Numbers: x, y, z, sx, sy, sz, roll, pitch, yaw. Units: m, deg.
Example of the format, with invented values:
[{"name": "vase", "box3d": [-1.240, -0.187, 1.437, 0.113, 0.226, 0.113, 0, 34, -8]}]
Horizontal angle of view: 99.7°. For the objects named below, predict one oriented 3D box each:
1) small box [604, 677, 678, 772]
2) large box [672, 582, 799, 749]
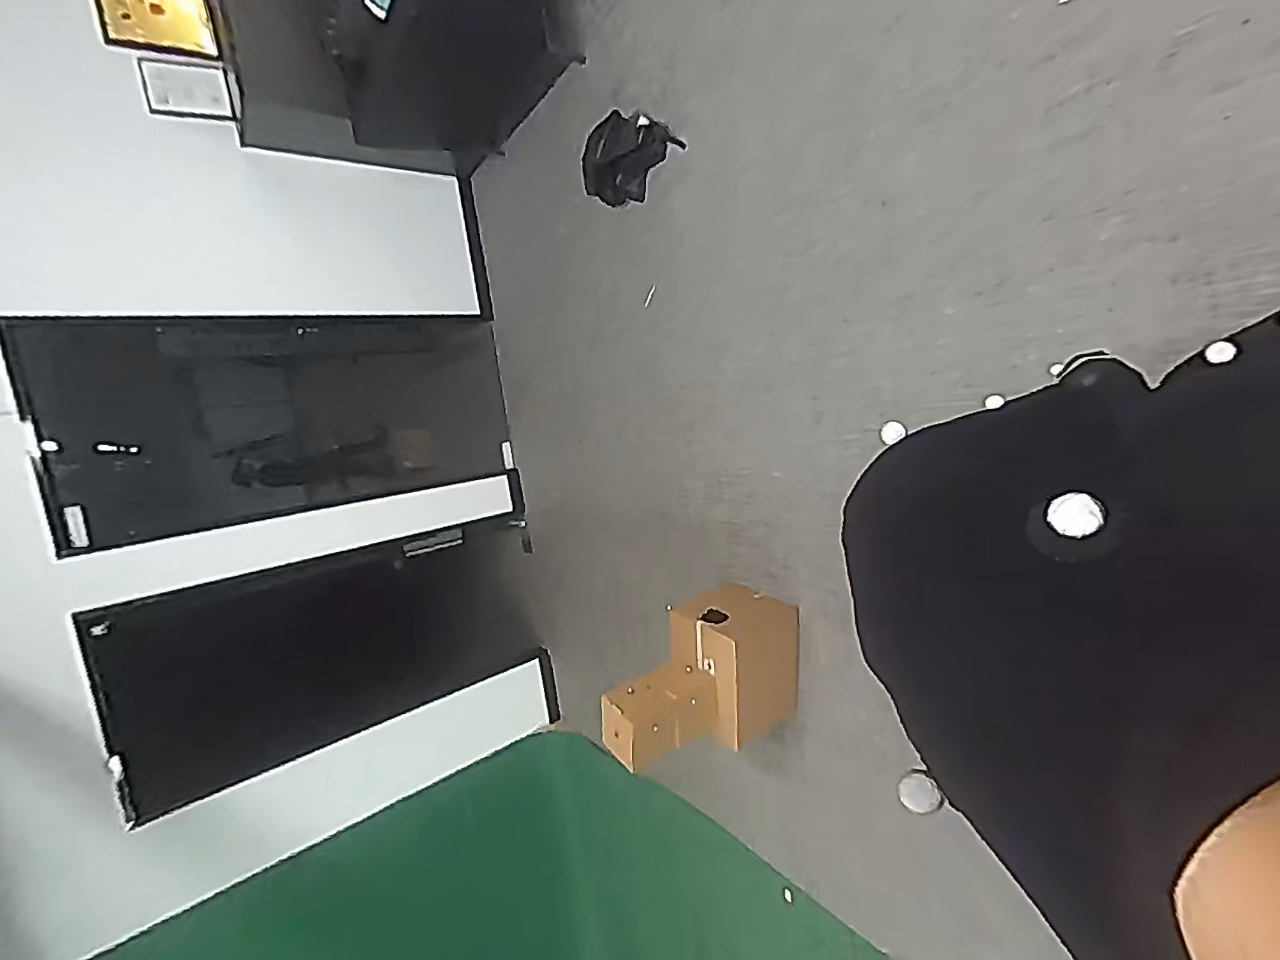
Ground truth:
[{"name": "small box", "box3d": [0.005, 0.739, 1.657, 0.168, 0.176, 0.179, 20, 116, 51]}, {"name": "large box", "box3d": [0.333, 0.618, 1.872, 0.320, 0.320, 0.408, 12, 108, 51]}]
